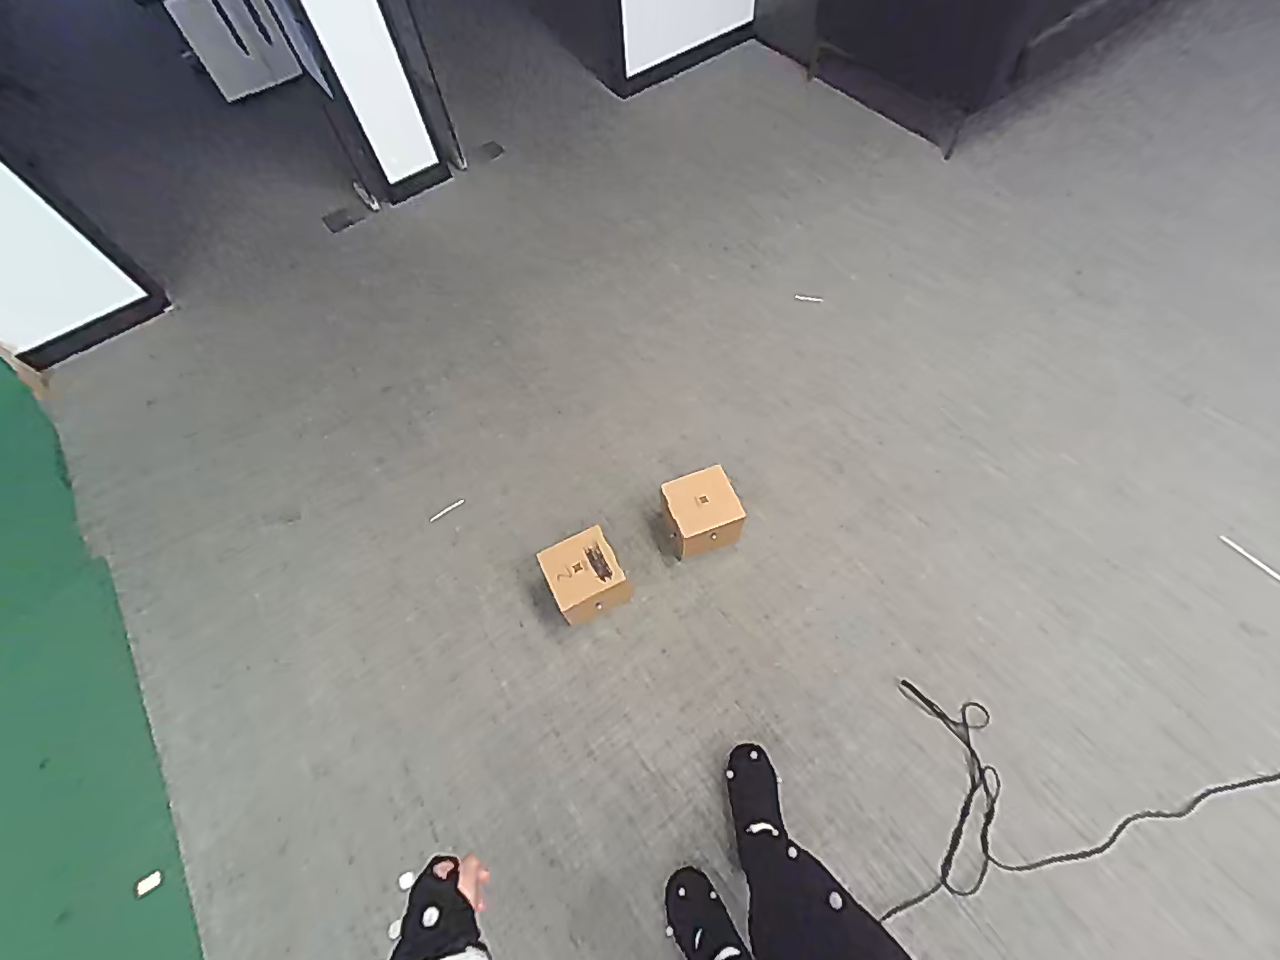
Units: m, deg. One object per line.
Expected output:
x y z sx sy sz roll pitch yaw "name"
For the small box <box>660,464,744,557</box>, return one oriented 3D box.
0.163 0.088 1.461 0.179 0.176 0.168 -19 63 -7 "small box"
